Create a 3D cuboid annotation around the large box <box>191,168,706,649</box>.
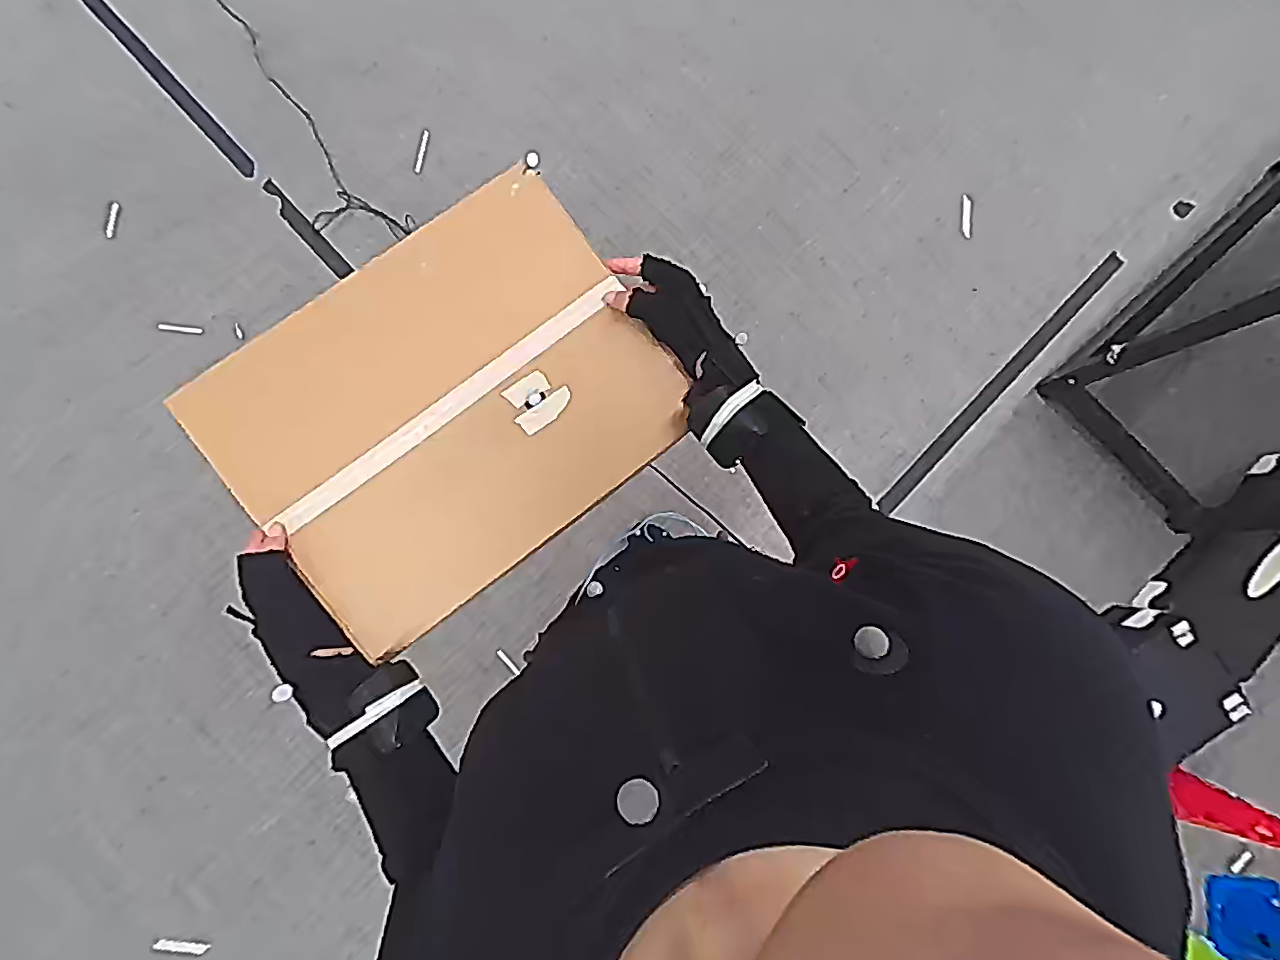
[{"bbox_3d":[-0.192,-0.068,0.674,0.408,0.320,0.320,-38,92,-7],"label":"large box"}]
